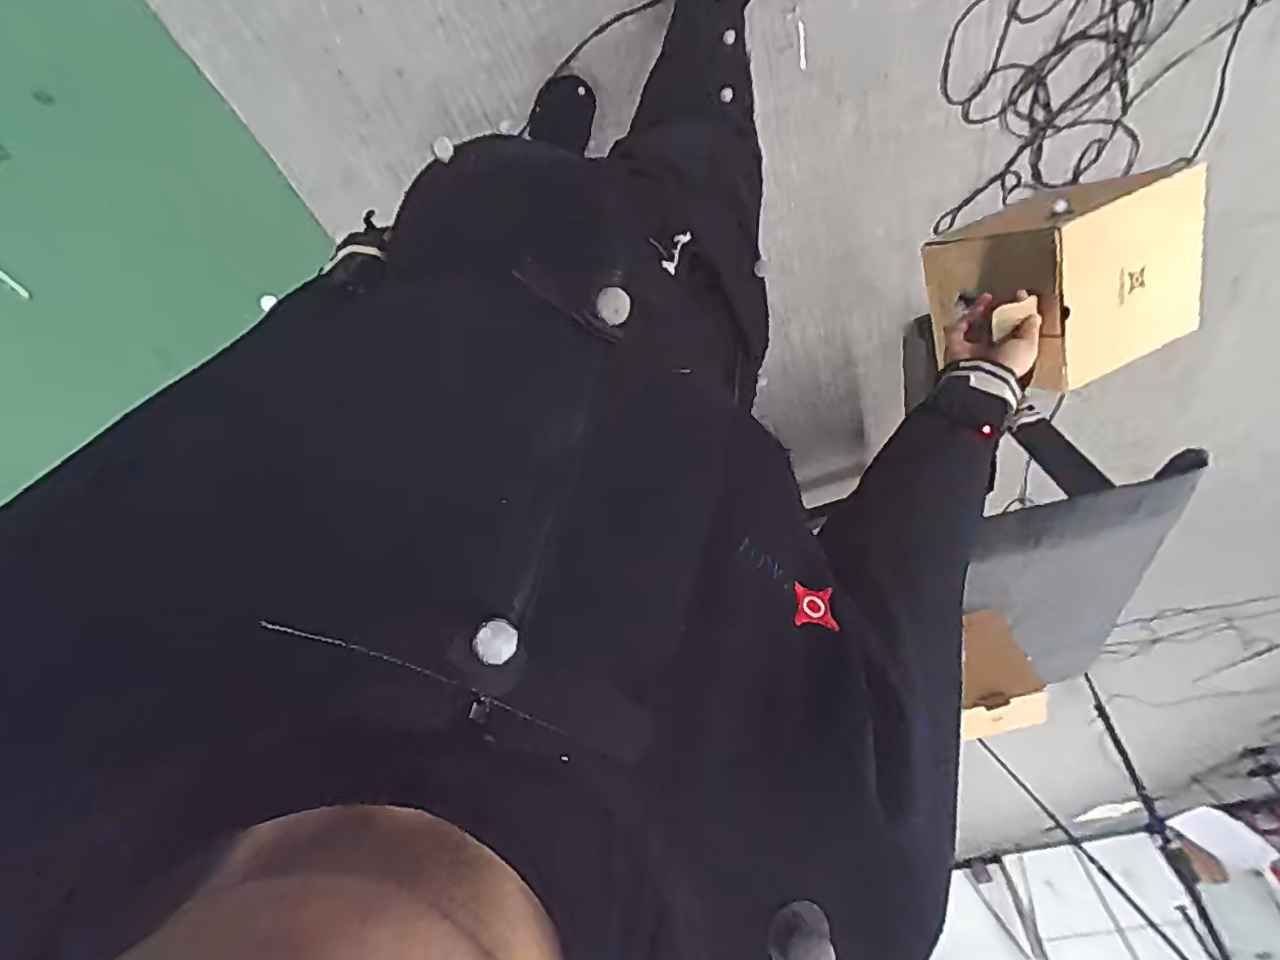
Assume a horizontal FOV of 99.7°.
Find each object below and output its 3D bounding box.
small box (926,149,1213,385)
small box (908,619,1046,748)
[{"bbox_3d":[0.451,-0.223,0.586,0.179,0.176,0.168,-27,113,-7],"label":"small box"},{"bbox_3d":[0.633,0.383,1.029,0.168,0.176,0.179,-23,134,16],"label":"small box"}]
